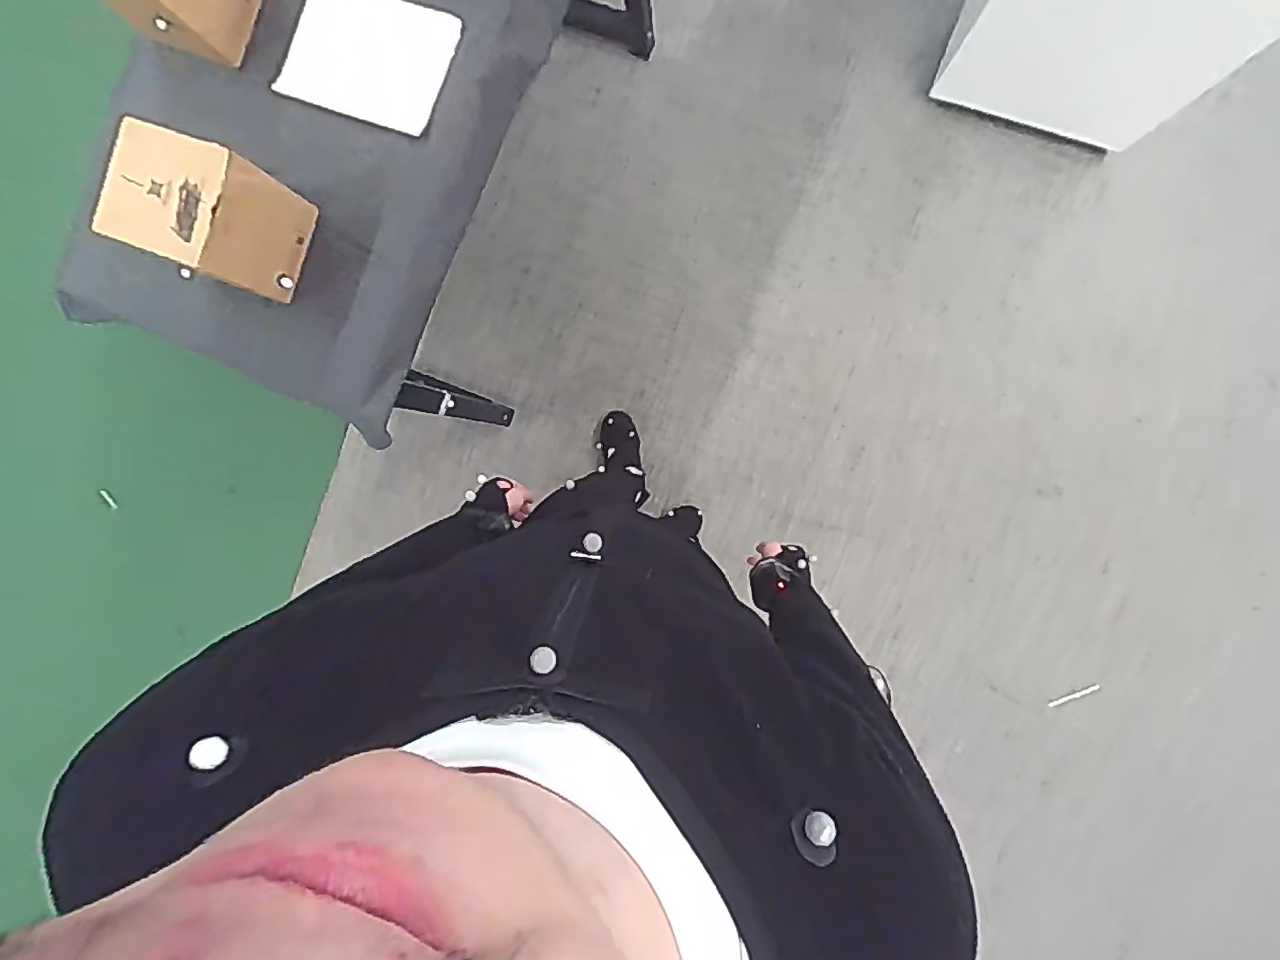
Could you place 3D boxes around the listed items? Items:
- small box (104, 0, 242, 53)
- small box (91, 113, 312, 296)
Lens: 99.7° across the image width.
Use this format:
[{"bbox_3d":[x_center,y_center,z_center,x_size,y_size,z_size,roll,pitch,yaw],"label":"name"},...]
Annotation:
[{"bbox_3d":[-0.721,-0.780,0.791,0.179,0.176,0.168,21,93,5],"label":"small box"},{"bbox_3d":[-0.640,-0.396,0.811,0.179,0.176,0.168,20,93,5],"label":"small box"}]
